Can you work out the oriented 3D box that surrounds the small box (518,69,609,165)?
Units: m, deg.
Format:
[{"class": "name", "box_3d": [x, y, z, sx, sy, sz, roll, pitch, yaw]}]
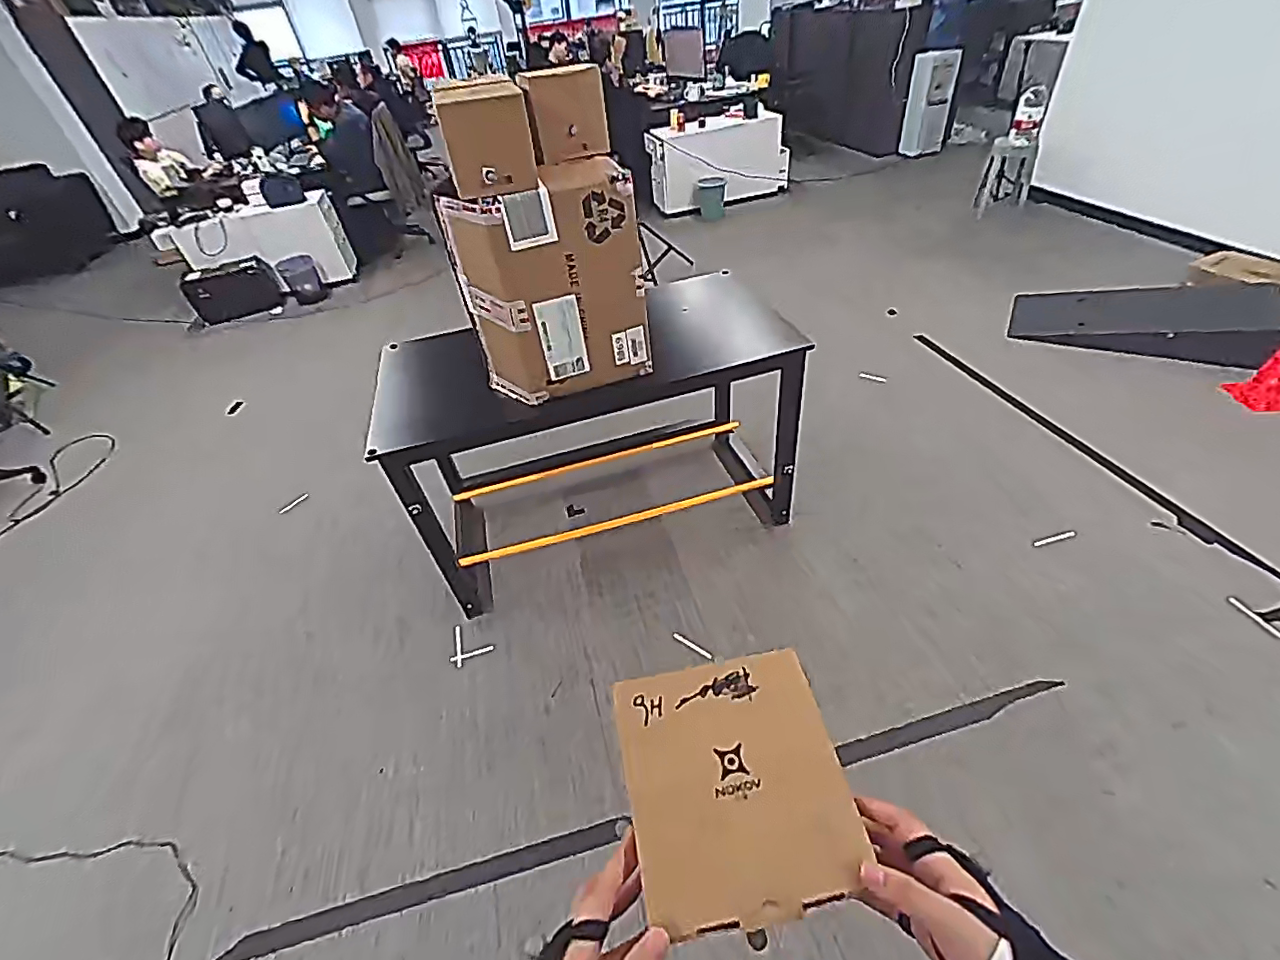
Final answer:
[{"class": "small box", "box_3d": [-0.183, -0.870, 1.296, 0.168, 0.176, 0.179, -17, 41, -10]}]

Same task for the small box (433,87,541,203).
[{"class": "small box", "box_3d": [-0.313, -0.688, 1.111, 0.168, 0.176, 0.179, -17, 45, -11]}]
